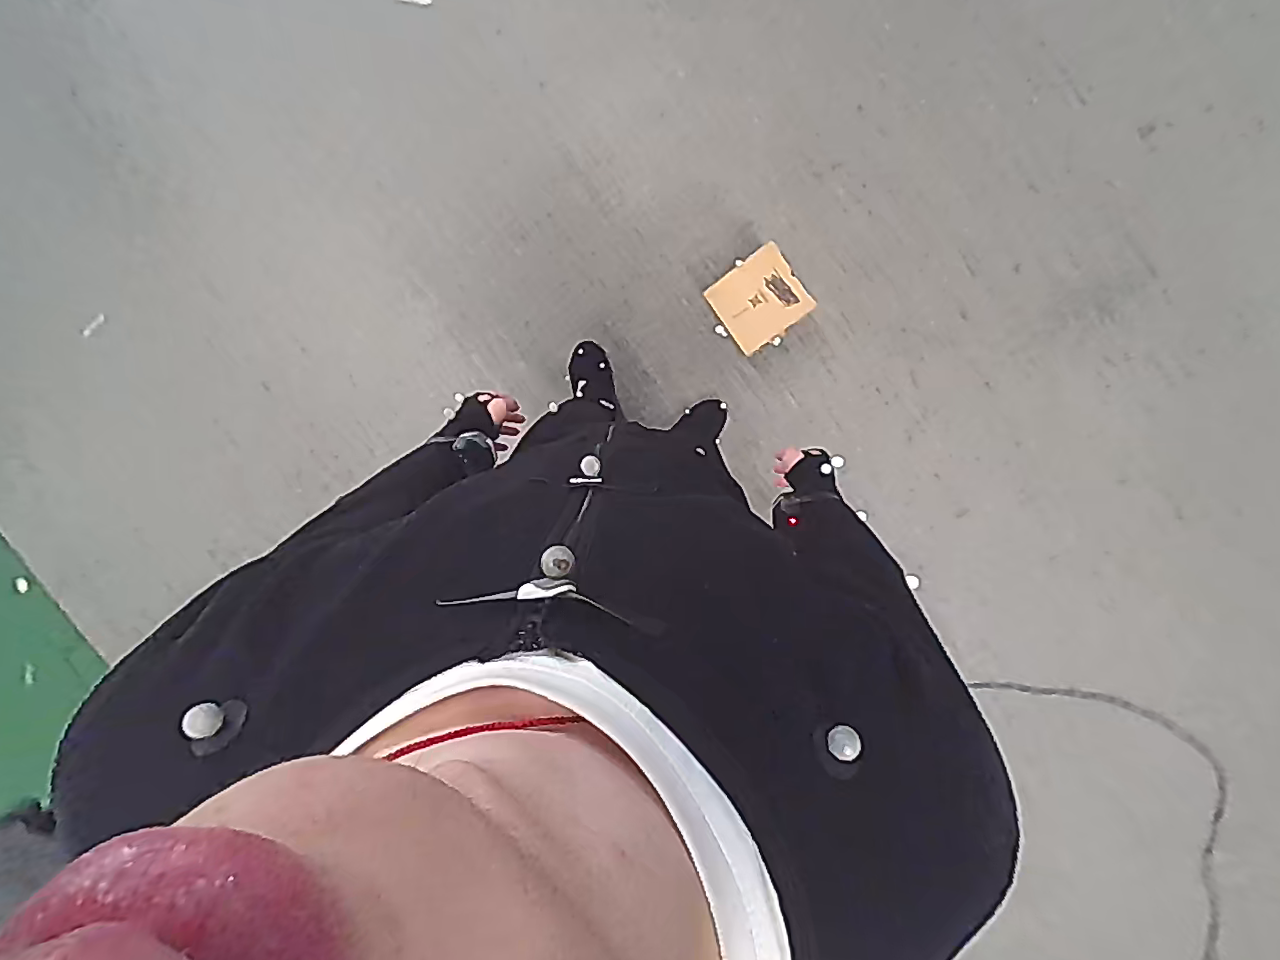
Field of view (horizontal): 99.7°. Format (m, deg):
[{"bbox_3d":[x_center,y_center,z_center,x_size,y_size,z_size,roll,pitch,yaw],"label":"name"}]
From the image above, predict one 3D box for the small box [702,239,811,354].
[{"bbox_3d":[0.251,-0.398,1.208,0.179,0.176,0.168,-32,94,11],"label":"small box"}]
